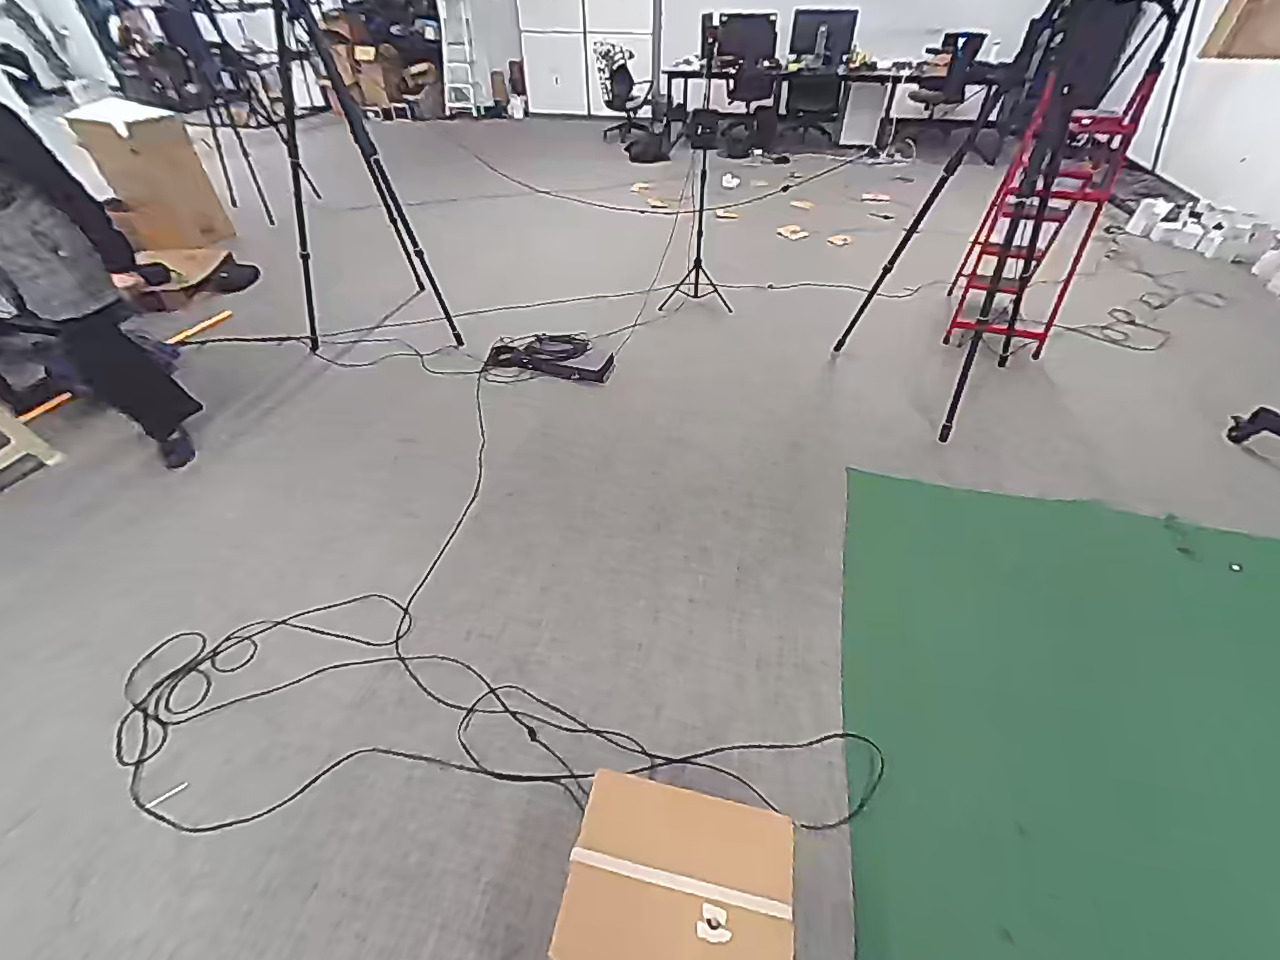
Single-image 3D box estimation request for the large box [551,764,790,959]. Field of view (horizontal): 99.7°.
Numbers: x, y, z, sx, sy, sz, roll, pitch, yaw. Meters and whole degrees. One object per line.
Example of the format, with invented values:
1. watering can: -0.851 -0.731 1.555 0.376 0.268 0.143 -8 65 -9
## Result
1. large box: 0.065 0.828 1.090 0.408 0.320 0.320 10 45 8
